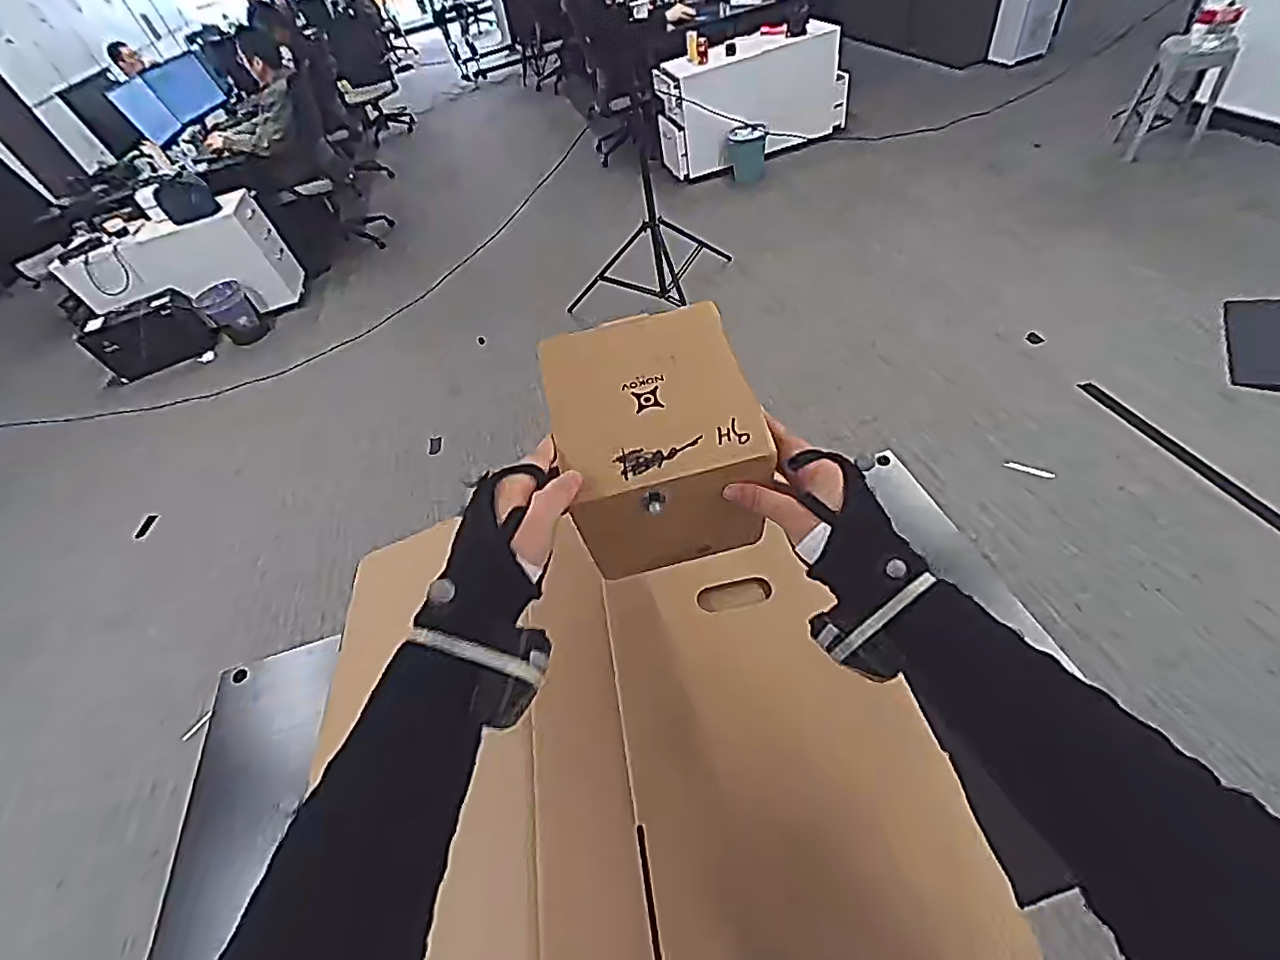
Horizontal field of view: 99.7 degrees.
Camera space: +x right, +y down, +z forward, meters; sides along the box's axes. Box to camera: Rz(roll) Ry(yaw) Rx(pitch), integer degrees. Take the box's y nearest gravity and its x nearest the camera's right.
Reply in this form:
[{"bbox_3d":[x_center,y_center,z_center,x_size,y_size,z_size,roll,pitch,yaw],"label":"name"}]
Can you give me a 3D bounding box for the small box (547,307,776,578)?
[{"bbox_3d":[0.017,-0.030,0.520,0.168,0.176,0.179,-14,58,0],"label":"small box"}]
